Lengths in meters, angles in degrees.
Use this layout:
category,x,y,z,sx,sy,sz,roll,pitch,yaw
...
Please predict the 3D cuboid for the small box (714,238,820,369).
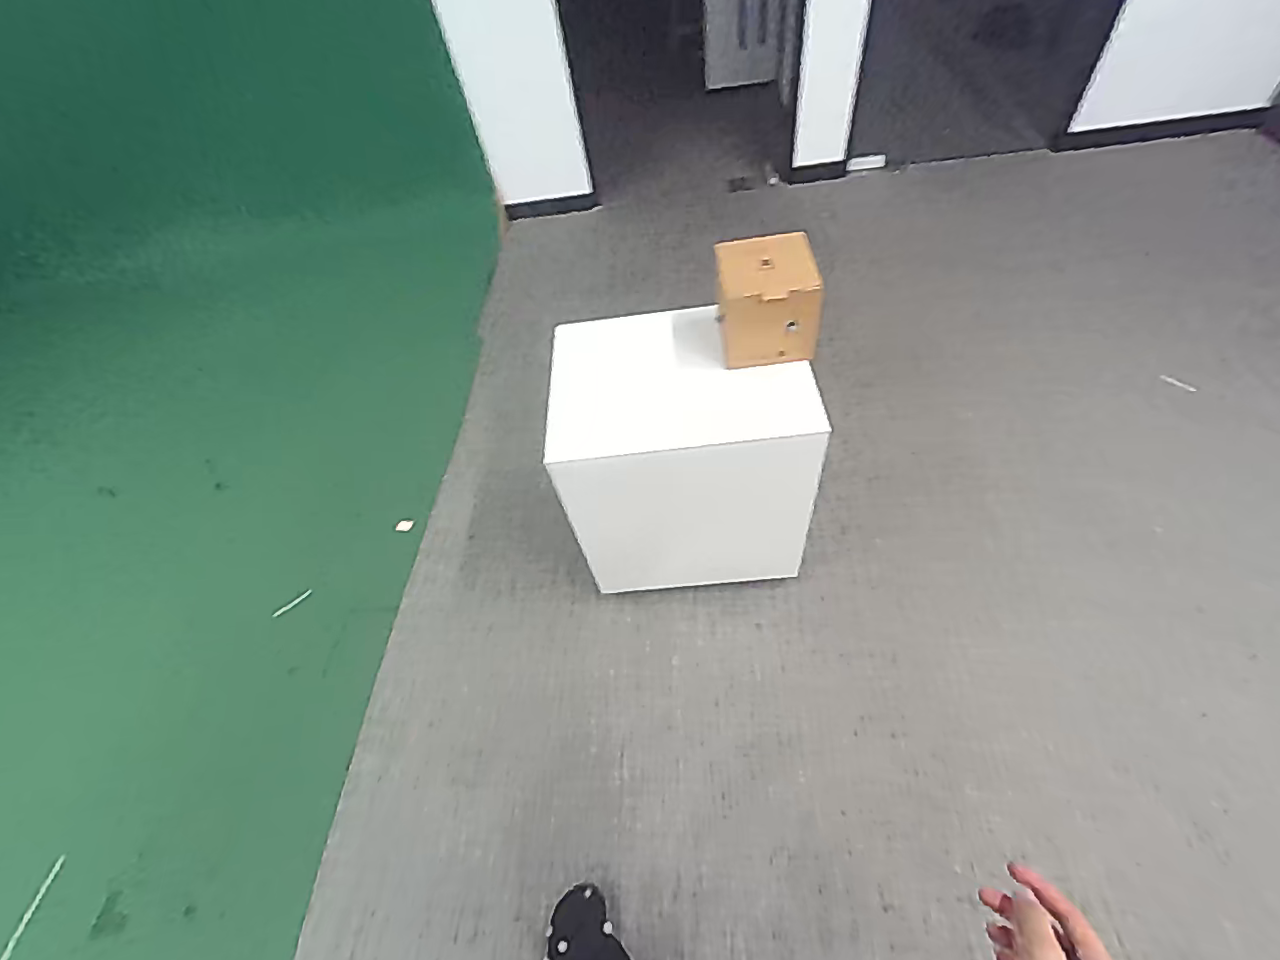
category,x,y,z,sx,sy,sz,roll,pitch,yaw
small box,0.236,-0.328,1.034,0.168,0.176,0.179,-6,52,5
